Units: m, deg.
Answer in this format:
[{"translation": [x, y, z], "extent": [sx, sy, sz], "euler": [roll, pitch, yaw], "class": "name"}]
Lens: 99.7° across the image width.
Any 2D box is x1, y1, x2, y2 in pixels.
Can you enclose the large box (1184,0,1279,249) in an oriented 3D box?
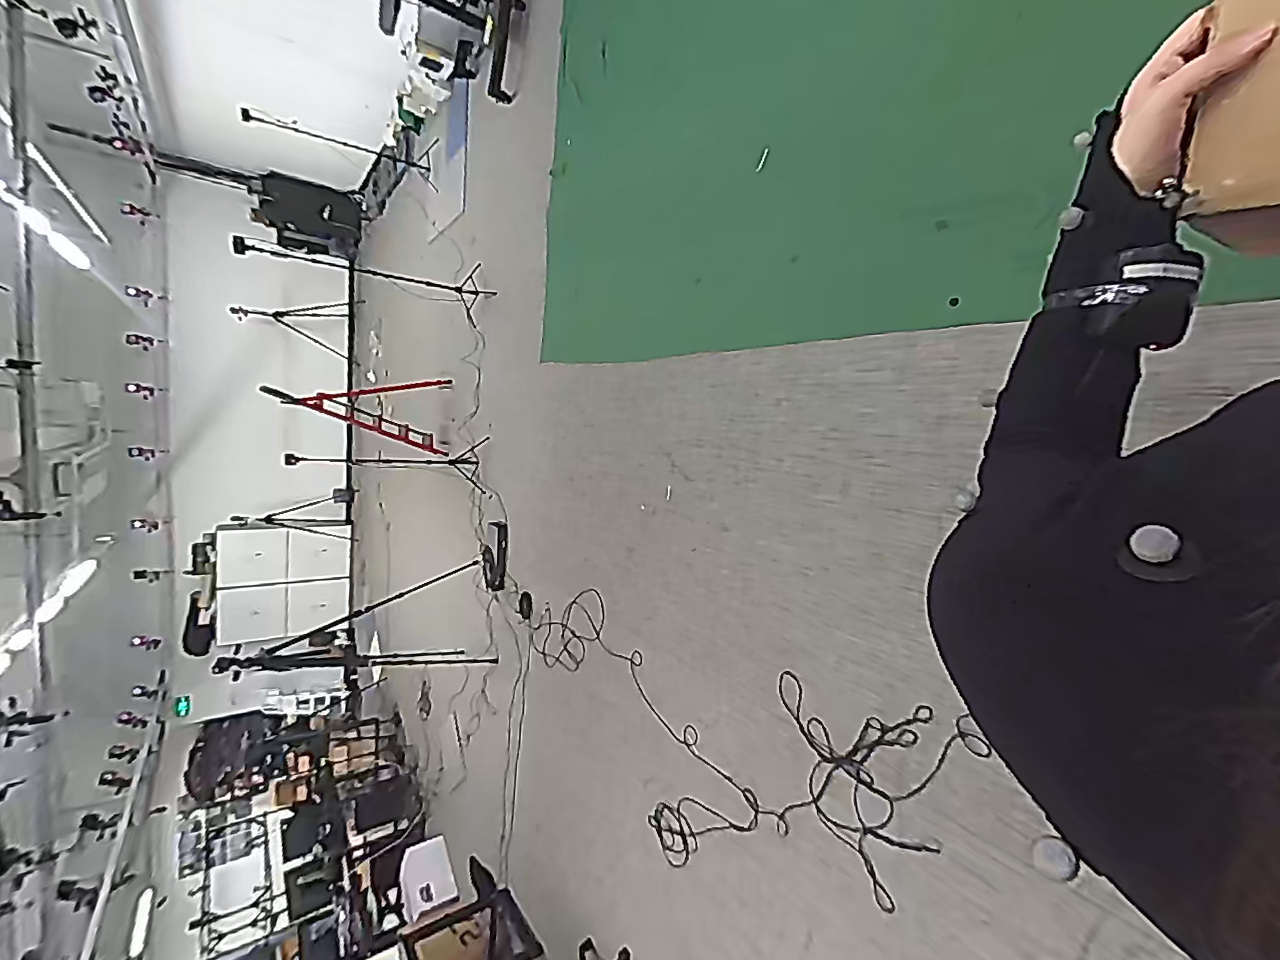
[{"translation": [0.636, -0.331, 0.291], "extent": [0.408, 0.320, 0.320], "euler": [17, 112, 54], "class": "large box"}]
